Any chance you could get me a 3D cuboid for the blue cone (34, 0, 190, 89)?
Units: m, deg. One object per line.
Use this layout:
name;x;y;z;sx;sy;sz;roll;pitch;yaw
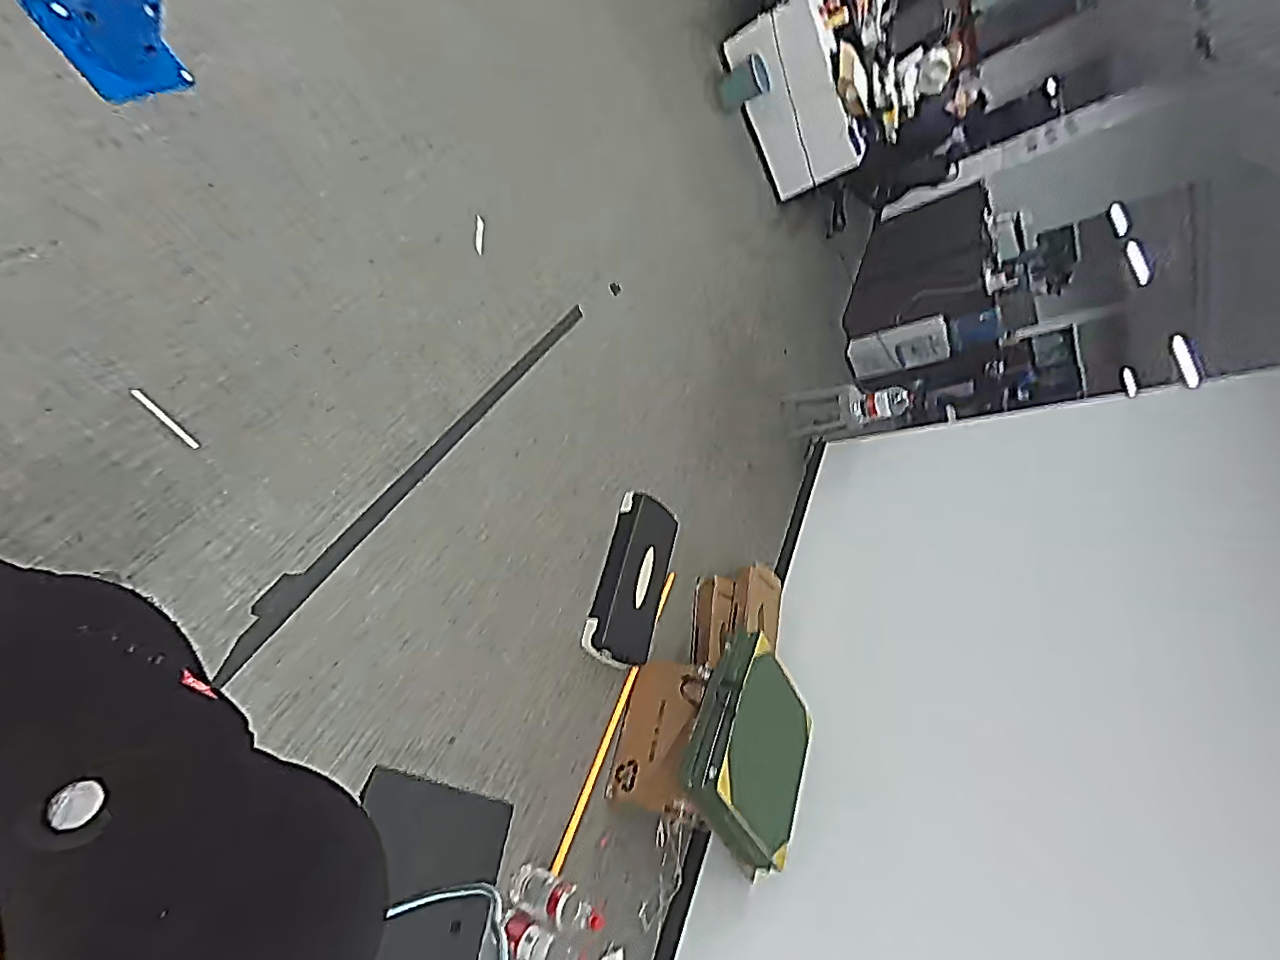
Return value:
blue cone;-0.956;-0.938;1.017;0.193;0.380;0.192;58;42;-27
